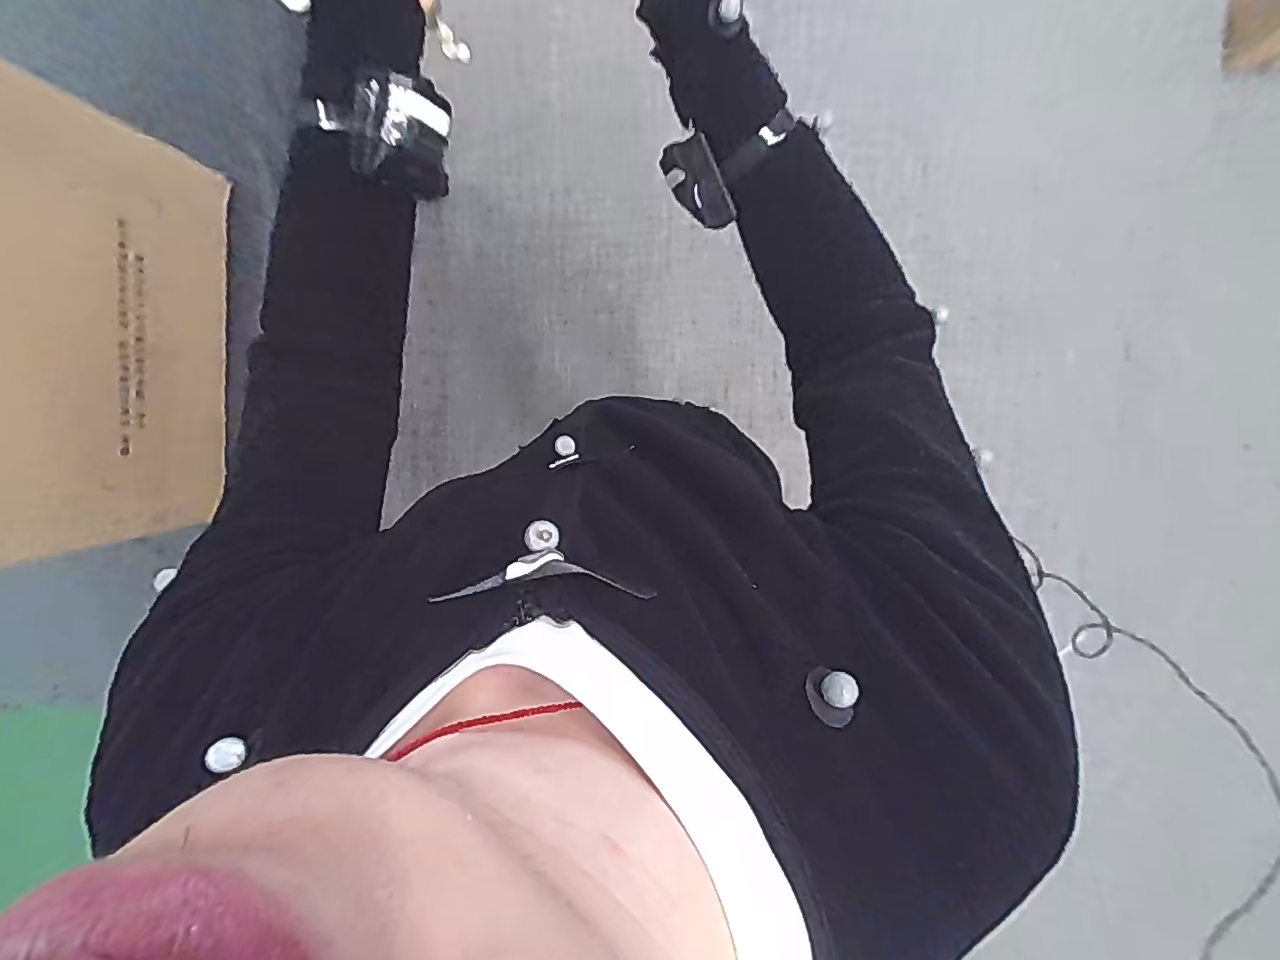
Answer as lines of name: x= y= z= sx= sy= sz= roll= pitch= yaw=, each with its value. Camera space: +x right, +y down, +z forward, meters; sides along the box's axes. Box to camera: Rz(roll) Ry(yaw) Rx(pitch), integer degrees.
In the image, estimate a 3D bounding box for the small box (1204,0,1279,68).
small box: x=1.468 y=-1.079 z=1.232 sx=0.179 sy=0.176 sz=0.168 roll=3 pitch=96 yaw=4
